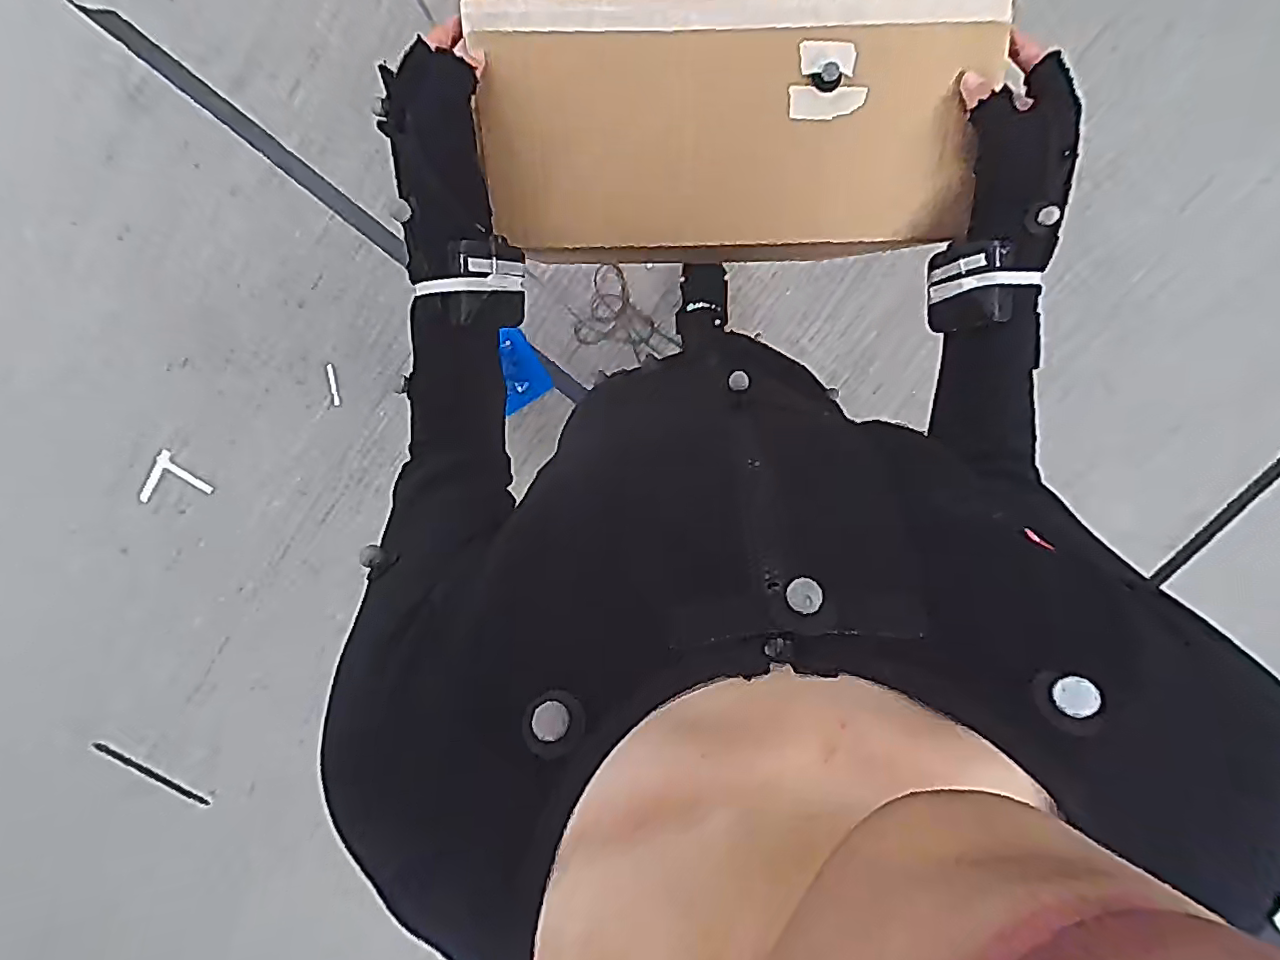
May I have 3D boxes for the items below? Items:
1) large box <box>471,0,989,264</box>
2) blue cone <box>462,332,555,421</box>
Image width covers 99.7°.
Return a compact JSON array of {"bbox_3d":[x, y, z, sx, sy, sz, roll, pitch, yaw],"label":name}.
[{"bbox_3d":[0.064,-0.403,0.552,0.408,0.320,0.320,-2,109,-1],"label":"large box"},{"bbox_3d":[-0.345,-0.231,1.267,0.193,0.380,0.192,-29,103,9],"label":"blue cone"}]
